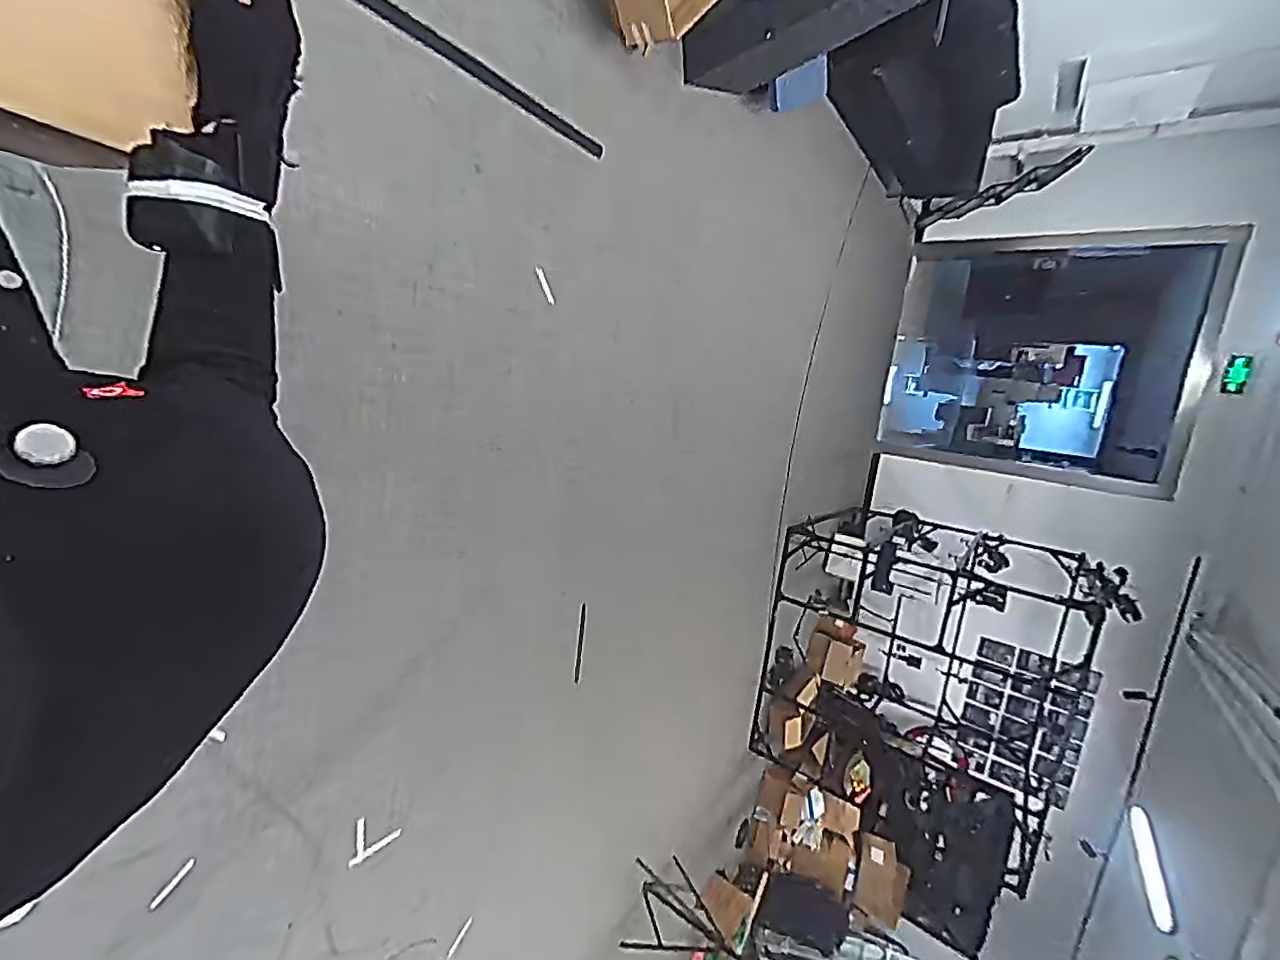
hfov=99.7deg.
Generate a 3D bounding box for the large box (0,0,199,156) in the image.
[{"bbox_3d":[-0.531,-0.414,0.278,0.408,0.320,0.320,-7,114,-59],"label":"large box"}]
